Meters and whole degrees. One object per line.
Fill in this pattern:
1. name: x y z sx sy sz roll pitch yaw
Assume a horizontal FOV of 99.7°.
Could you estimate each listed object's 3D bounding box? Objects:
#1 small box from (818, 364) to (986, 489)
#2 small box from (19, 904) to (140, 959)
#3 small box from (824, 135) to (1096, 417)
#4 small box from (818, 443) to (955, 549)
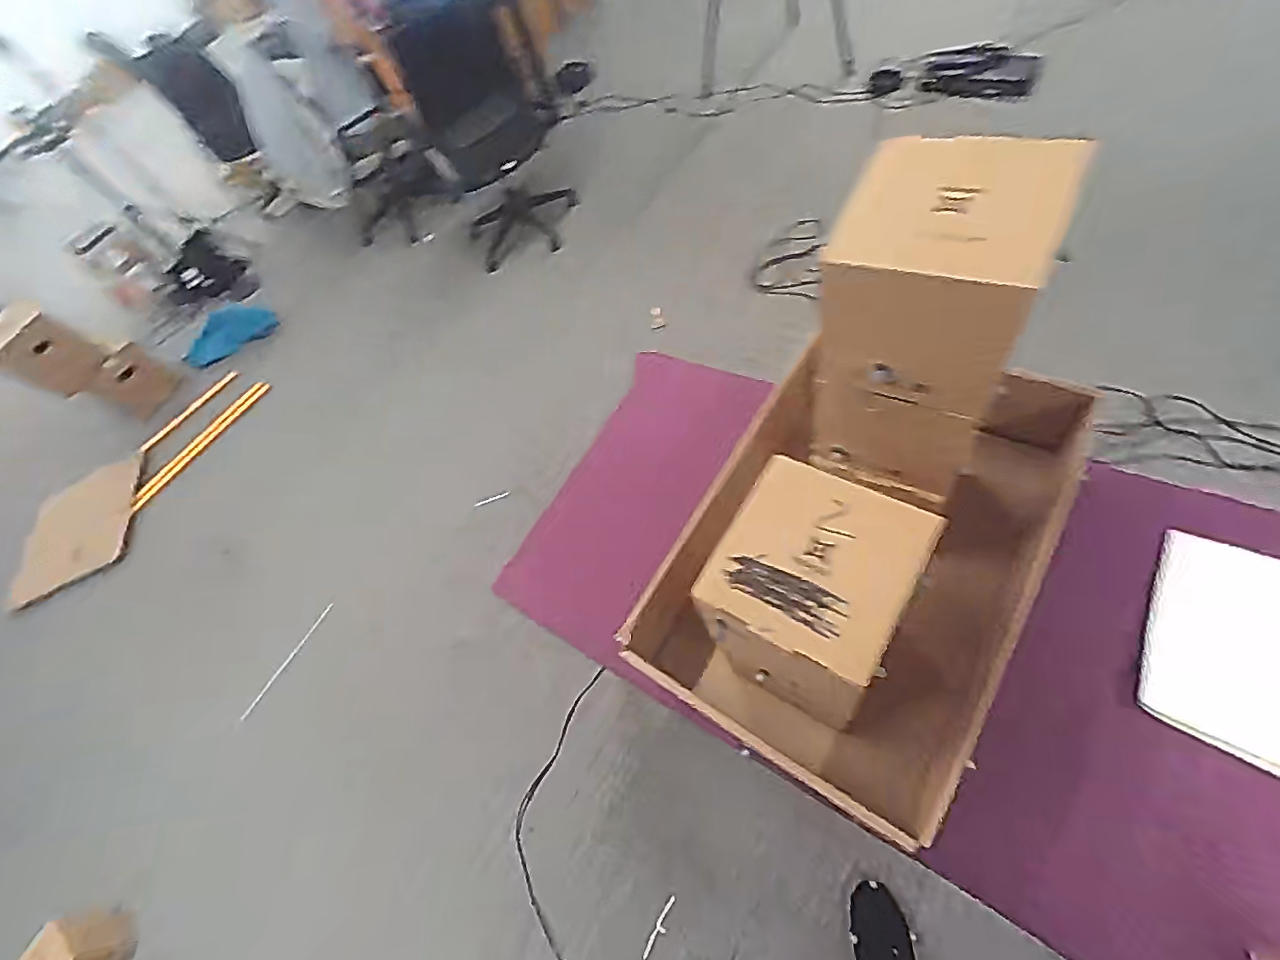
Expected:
1. small box: 0.330 -0.115 0.656 0.168 0.176 0.179 22 69 27
2. small box: -1.583 1.339 1.526 0.179 0.176 0.168 19 66 28
3. small box: 0.287 -0.193 0.520 0.168 0.176 0.179 22 70 28
4. small box: 0.371 -0.028 0.790 0.168 0.176 0.179 23 71 28
